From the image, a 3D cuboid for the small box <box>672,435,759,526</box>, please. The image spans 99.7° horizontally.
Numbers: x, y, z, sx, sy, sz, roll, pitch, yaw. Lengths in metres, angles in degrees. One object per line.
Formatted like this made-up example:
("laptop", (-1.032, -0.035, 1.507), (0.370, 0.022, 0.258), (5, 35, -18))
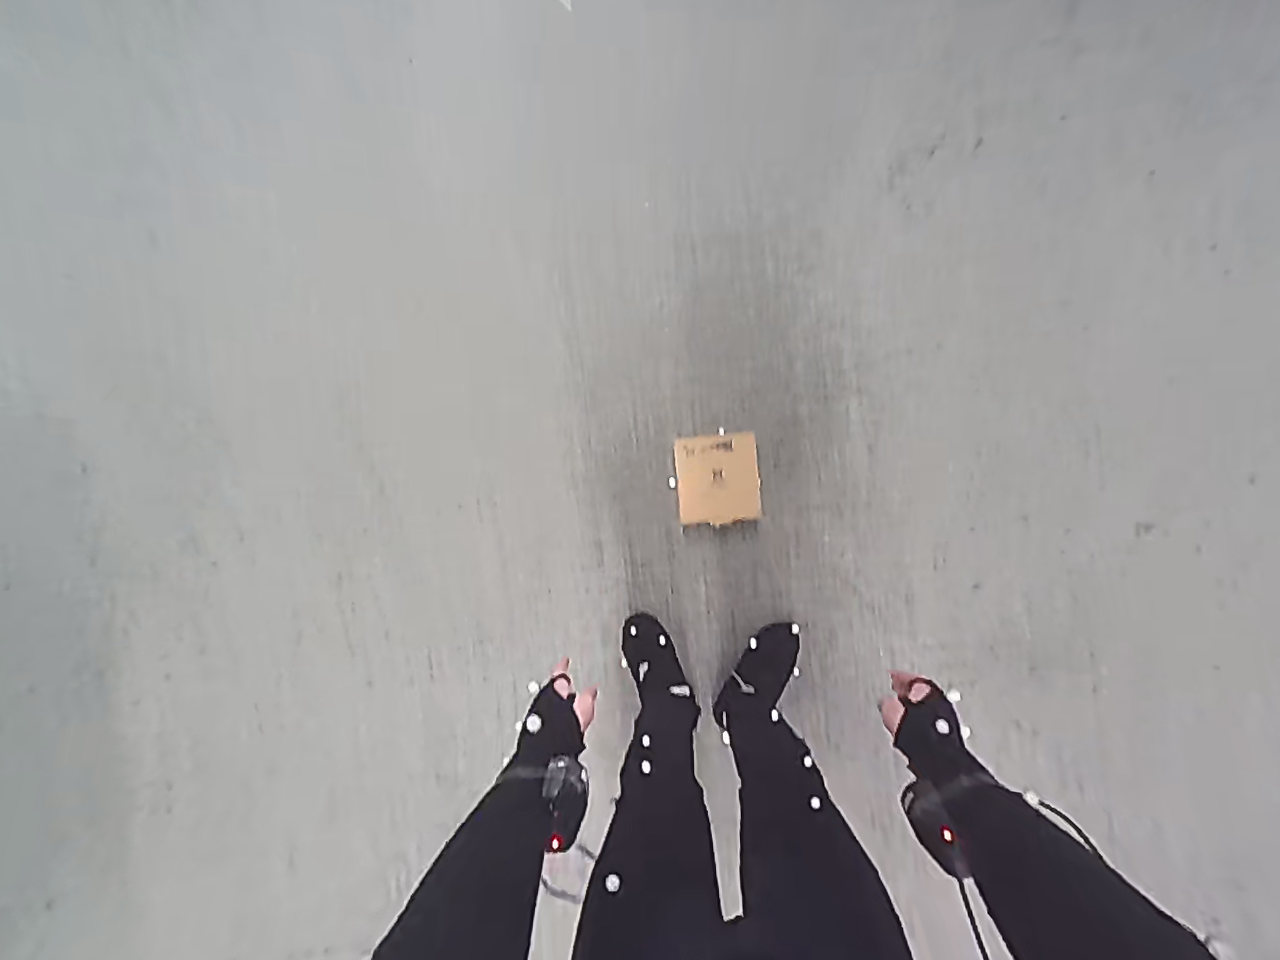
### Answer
("small box", (0.161, 0.000, 1.190), (0.168, 0.176, 0.179), (-6, 89, 3))
